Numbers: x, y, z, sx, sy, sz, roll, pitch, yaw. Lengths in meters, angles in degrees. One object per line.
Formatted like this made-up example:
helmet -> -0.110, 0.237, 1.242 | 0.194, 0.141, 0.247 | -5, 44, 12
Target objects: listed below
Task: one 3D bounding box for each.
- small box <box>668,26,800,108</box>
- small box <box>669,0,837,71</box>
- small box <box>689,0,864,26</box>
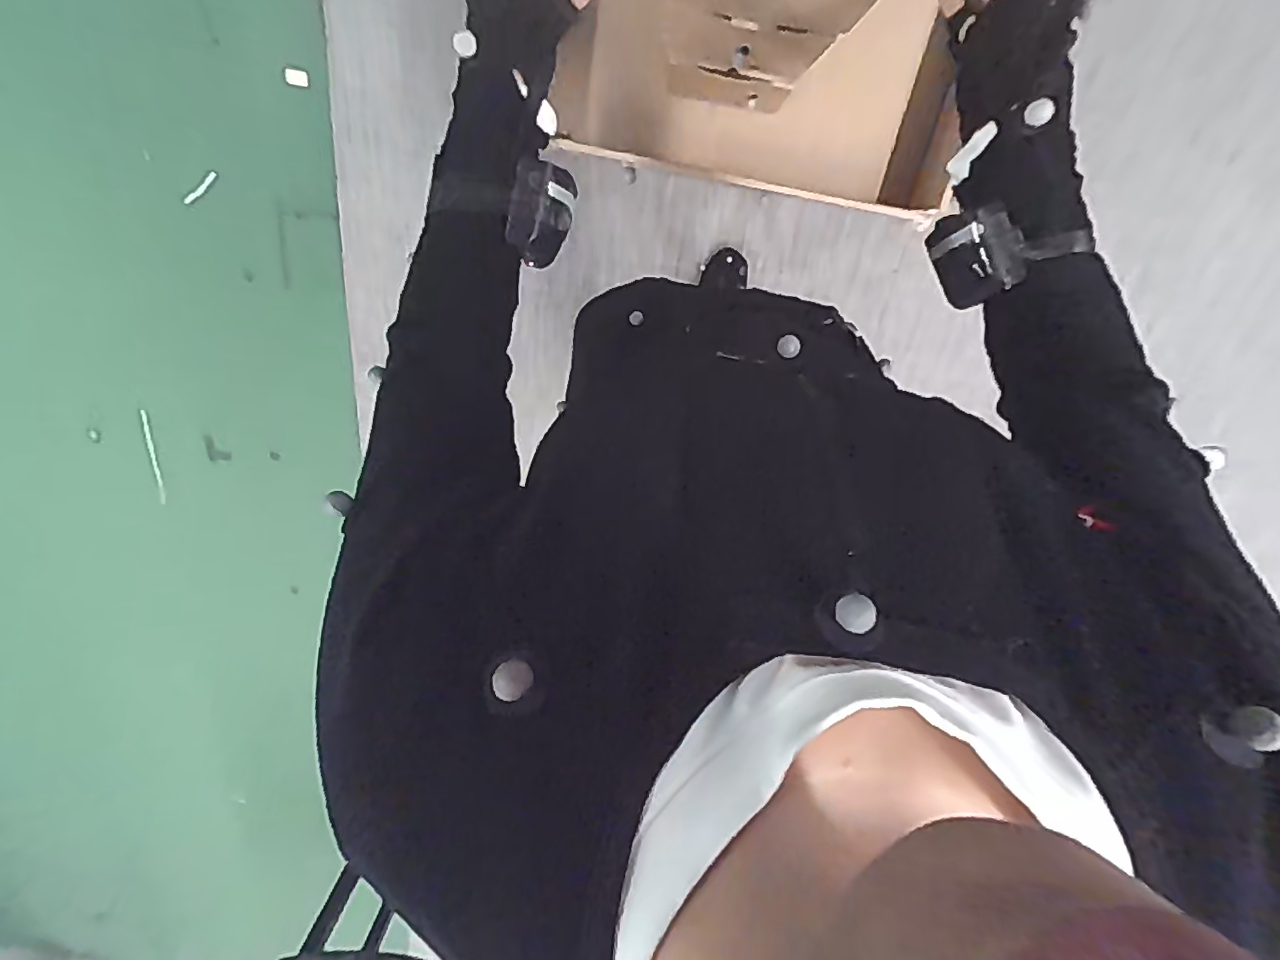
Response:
small box -> 0.134, -0.613, 0.704 | 0.168, 0.176, 0.179 | 10, 114, -2
small box -> 0.128, -0.551, 0.553 | 0.168, 0.176, 0.179 | 10, 116, -2
small box -> 0.121, -0.478, 0.404 | 0.179, 0.176, 0.168 | 8, 115, -2
